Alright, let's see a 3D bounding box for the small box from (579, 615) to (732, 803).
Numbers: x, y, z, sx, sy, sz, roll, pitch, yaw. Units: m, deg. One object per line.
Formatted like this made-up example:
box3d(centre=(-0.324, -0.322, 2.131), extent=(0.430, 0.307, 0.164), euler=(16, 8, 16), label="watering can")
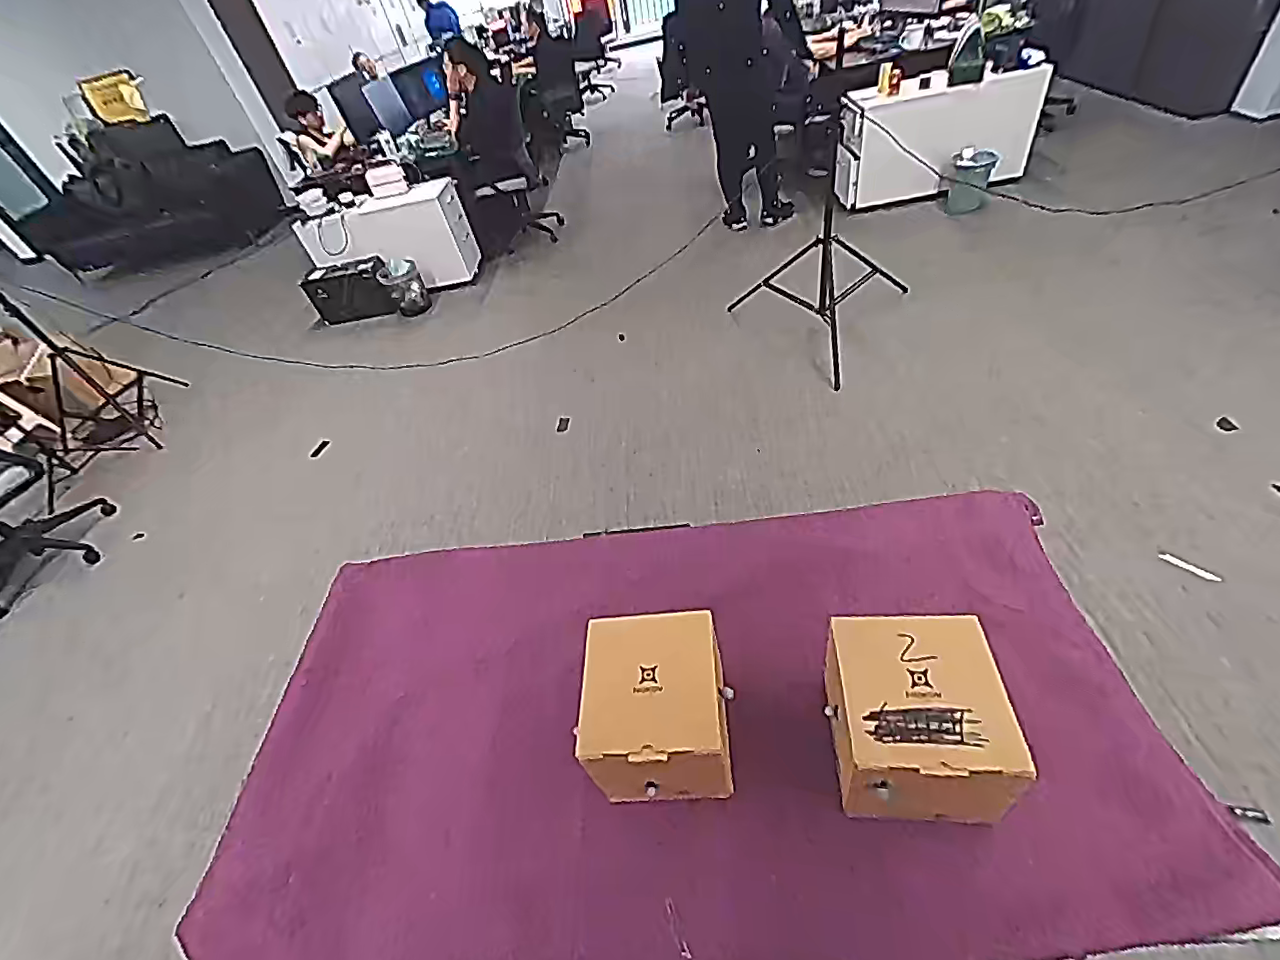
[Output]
box3d(centre=(0.027, 0.300, 0.707), extent=(0.168, 0.176, 0.179), euler=(-7, 45, 8), label="small box")
